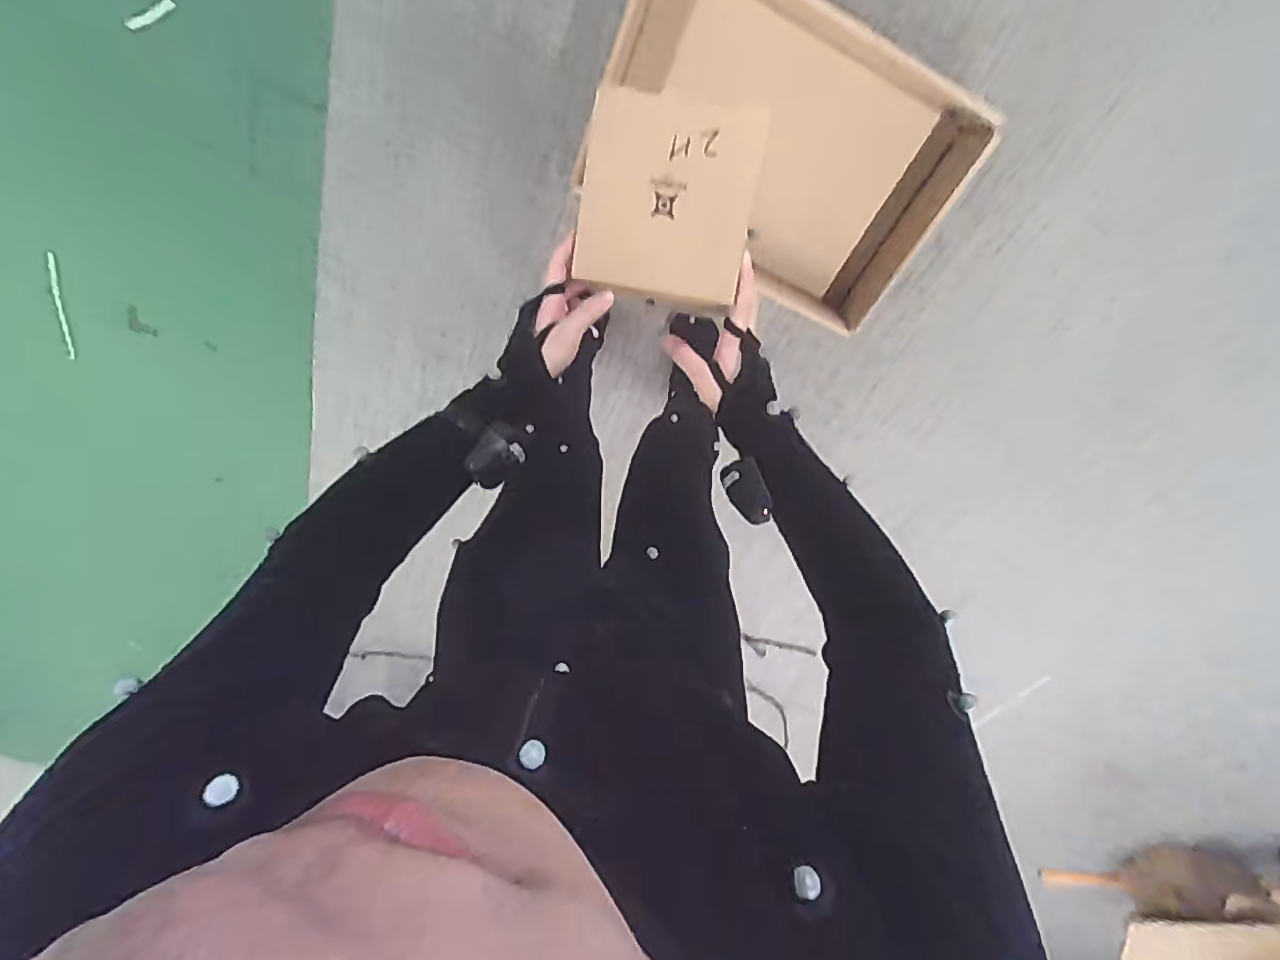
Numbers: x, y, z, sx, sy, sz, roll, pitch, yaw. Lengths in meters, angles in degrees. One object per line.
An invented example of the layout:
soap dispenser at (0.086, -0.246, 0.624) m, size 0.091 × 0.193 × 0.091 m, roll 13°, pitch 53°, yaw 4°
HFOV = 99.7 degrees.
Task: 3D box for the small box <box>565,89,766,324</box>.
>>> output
small box at (0.027, -0.275, 0.587) m, size 0.168 × 0.176 × 0.179 m, roll 11°, pitch 100°, yaw 2°
